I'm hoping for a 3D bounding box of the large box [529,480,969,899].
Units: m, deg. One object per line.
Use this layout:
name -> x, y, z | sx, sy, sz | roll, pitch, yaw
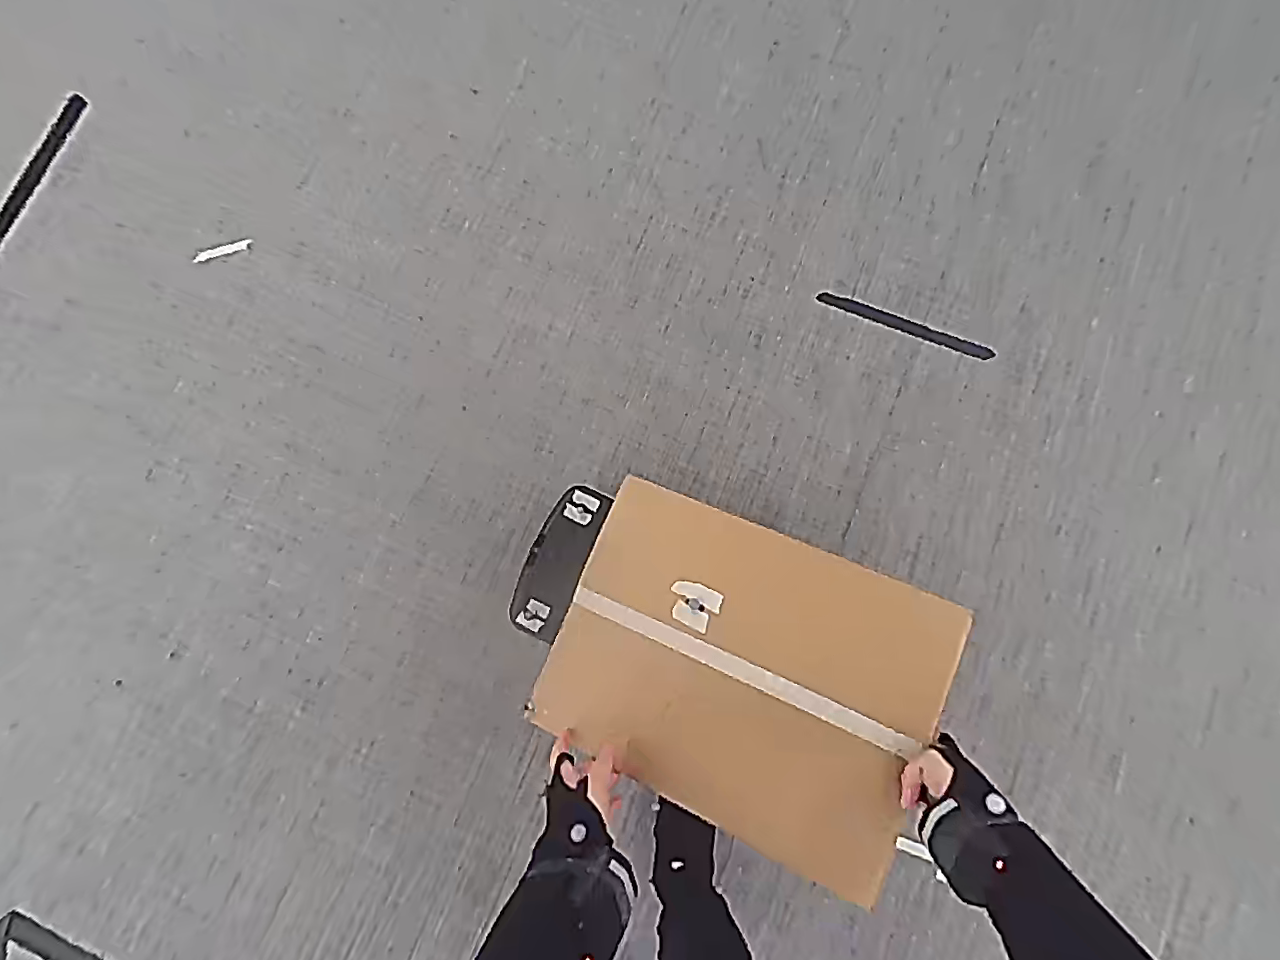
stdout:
large box -> 0.137, 0.232, 0.729 | 0.408, 0.320, 0.320 | 21, 83, 16
